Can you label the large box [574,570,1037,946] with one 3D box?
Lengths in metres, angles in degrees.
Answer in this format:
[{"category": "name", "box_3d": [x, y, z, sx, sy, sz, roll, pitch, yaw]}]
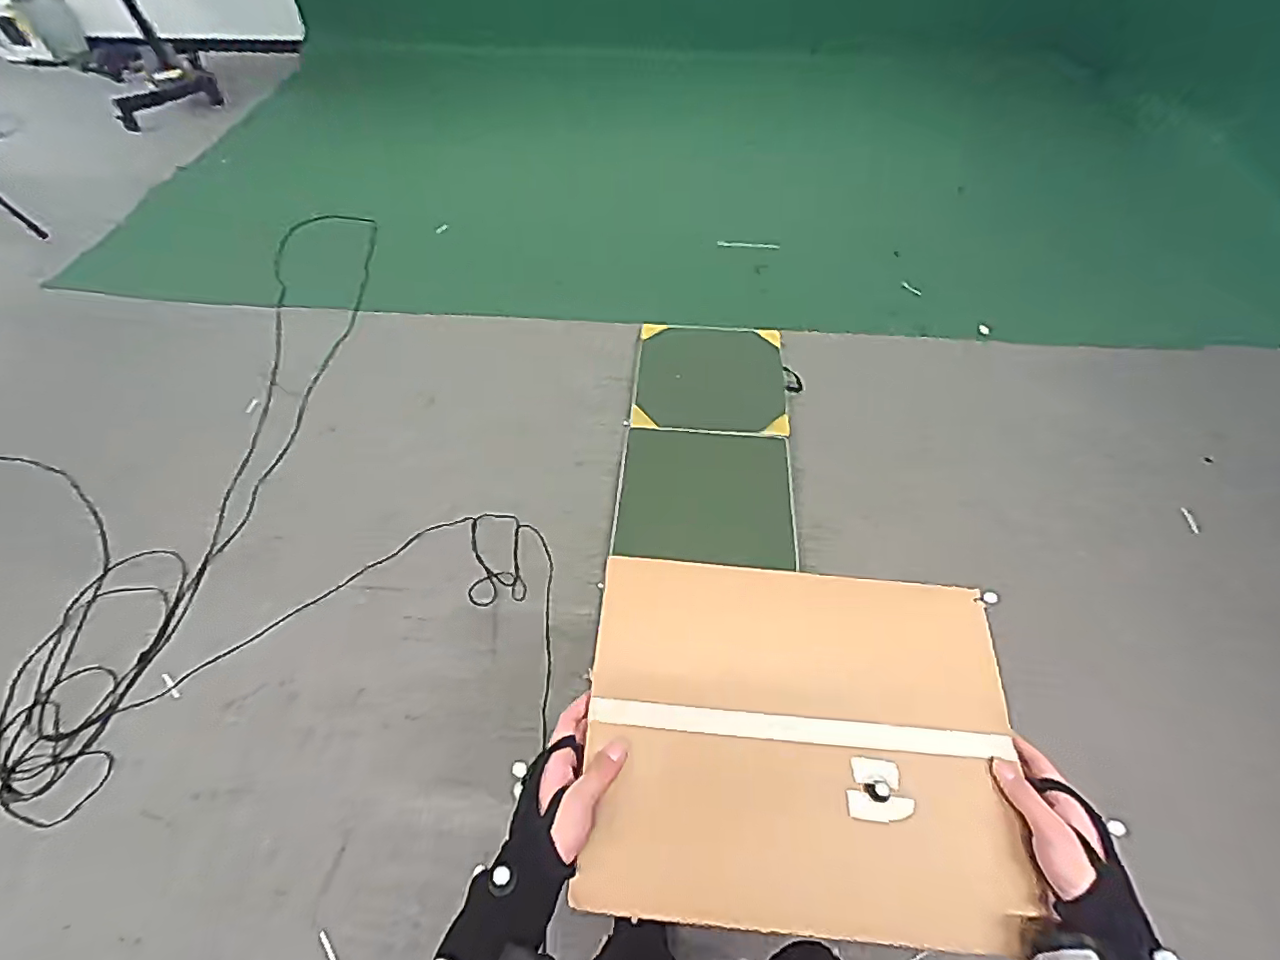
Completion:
[{"category": "large box", "box_3d": [0.143, 0.319, 0.658, 0.408, 0.320, 0.320, 4, 62, 1]}]
